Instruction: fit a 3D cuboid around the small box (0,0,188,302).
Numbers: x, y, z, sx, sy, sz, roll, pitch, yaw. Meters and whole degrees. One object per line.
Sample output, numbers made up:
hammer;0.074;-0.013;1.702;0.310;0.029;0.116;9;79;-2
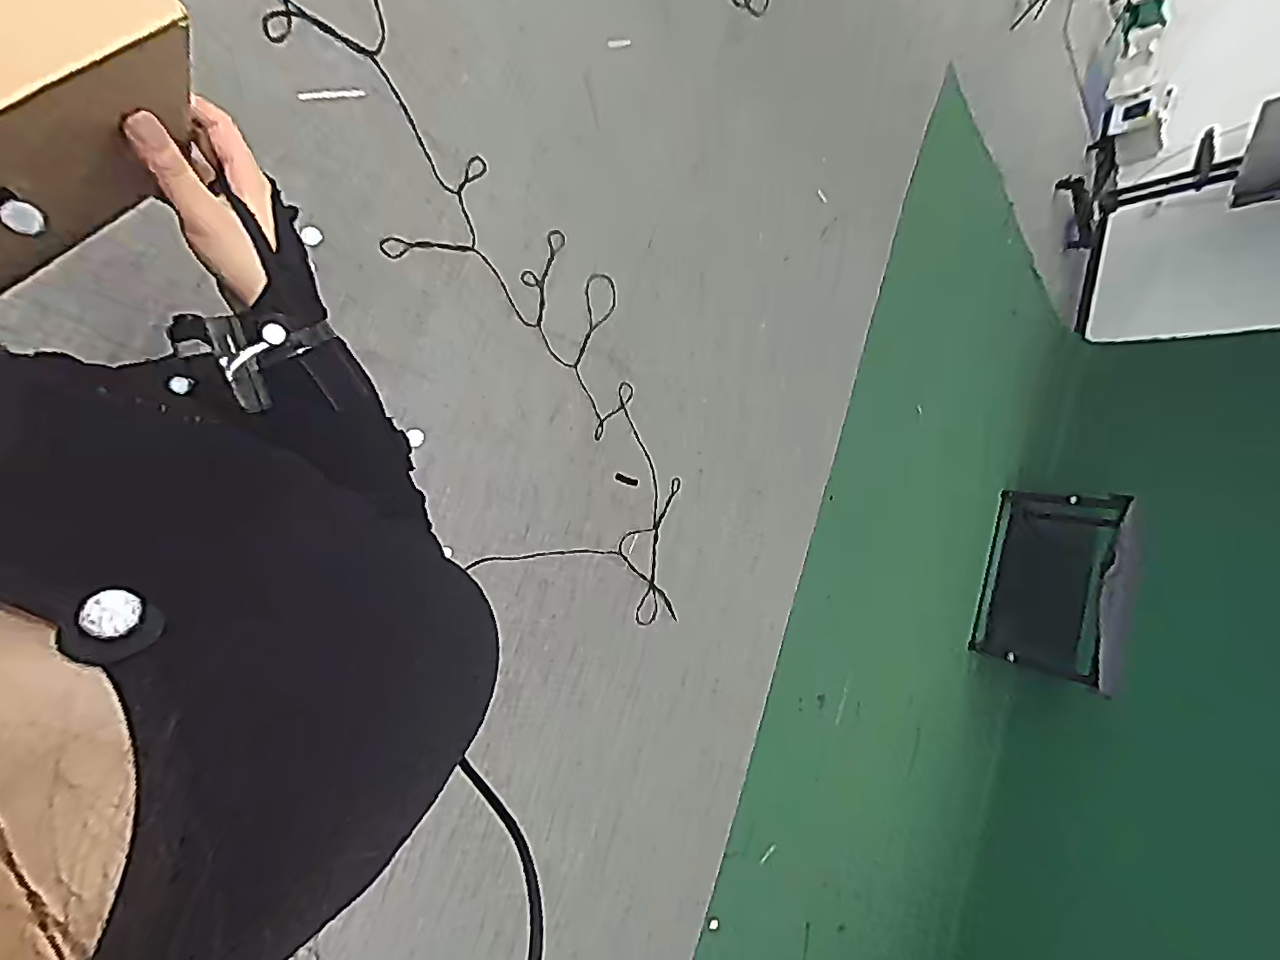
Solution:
small box;-0.340;-0.193;0.234;0.168;0.176;0.179;48;64;-31
